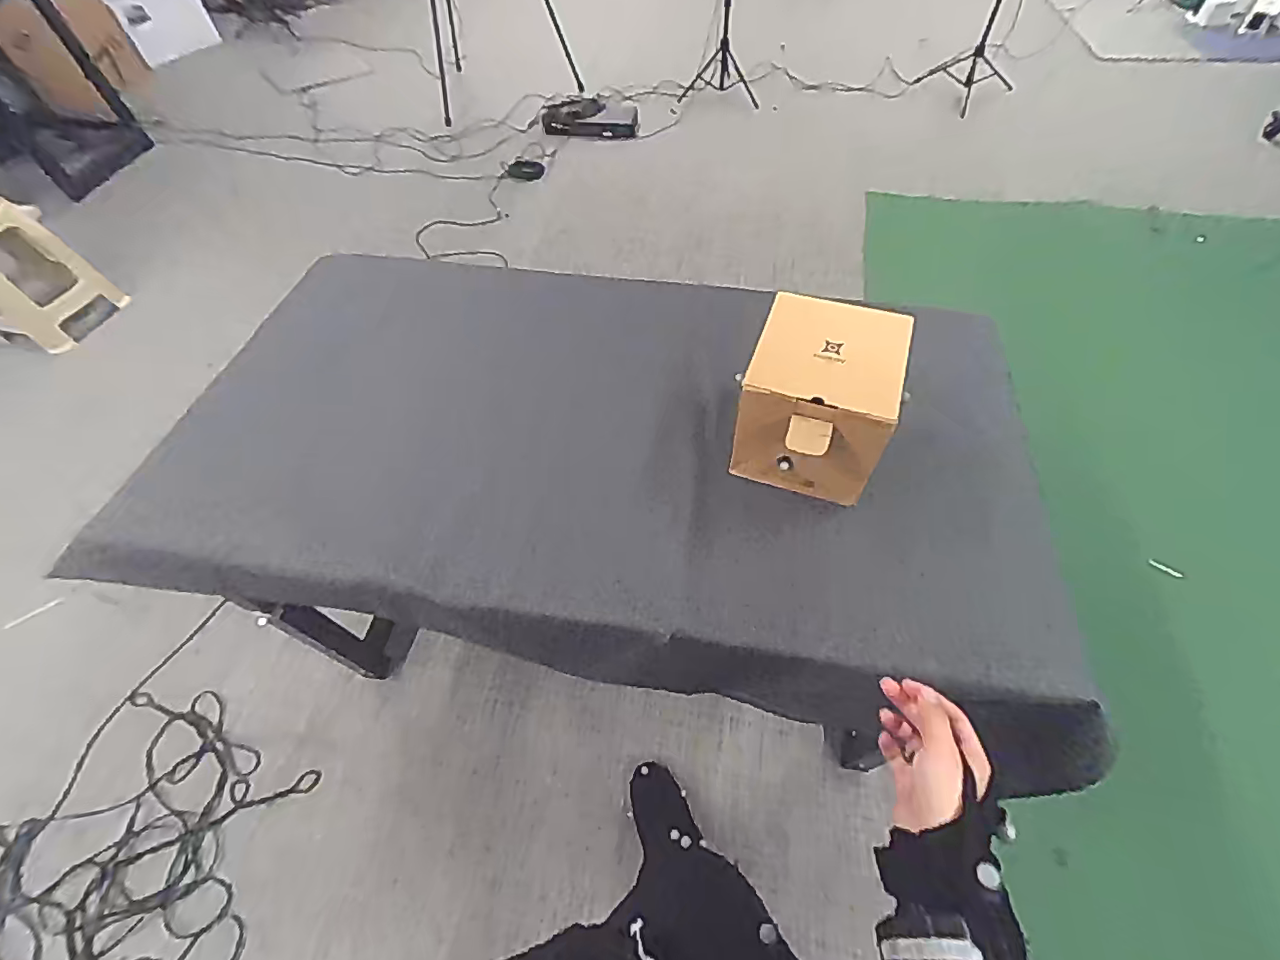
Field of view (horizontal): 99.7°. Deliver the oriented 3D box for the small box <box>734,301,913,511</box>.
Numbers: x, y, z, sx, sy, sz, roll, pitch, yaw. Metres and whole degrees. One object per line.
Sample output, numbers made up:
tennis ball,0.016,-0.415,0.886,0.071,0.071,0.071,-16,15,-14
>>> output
small box,0.224,-0.091,0.684,0.168,0.176,0.179,16,58,14
